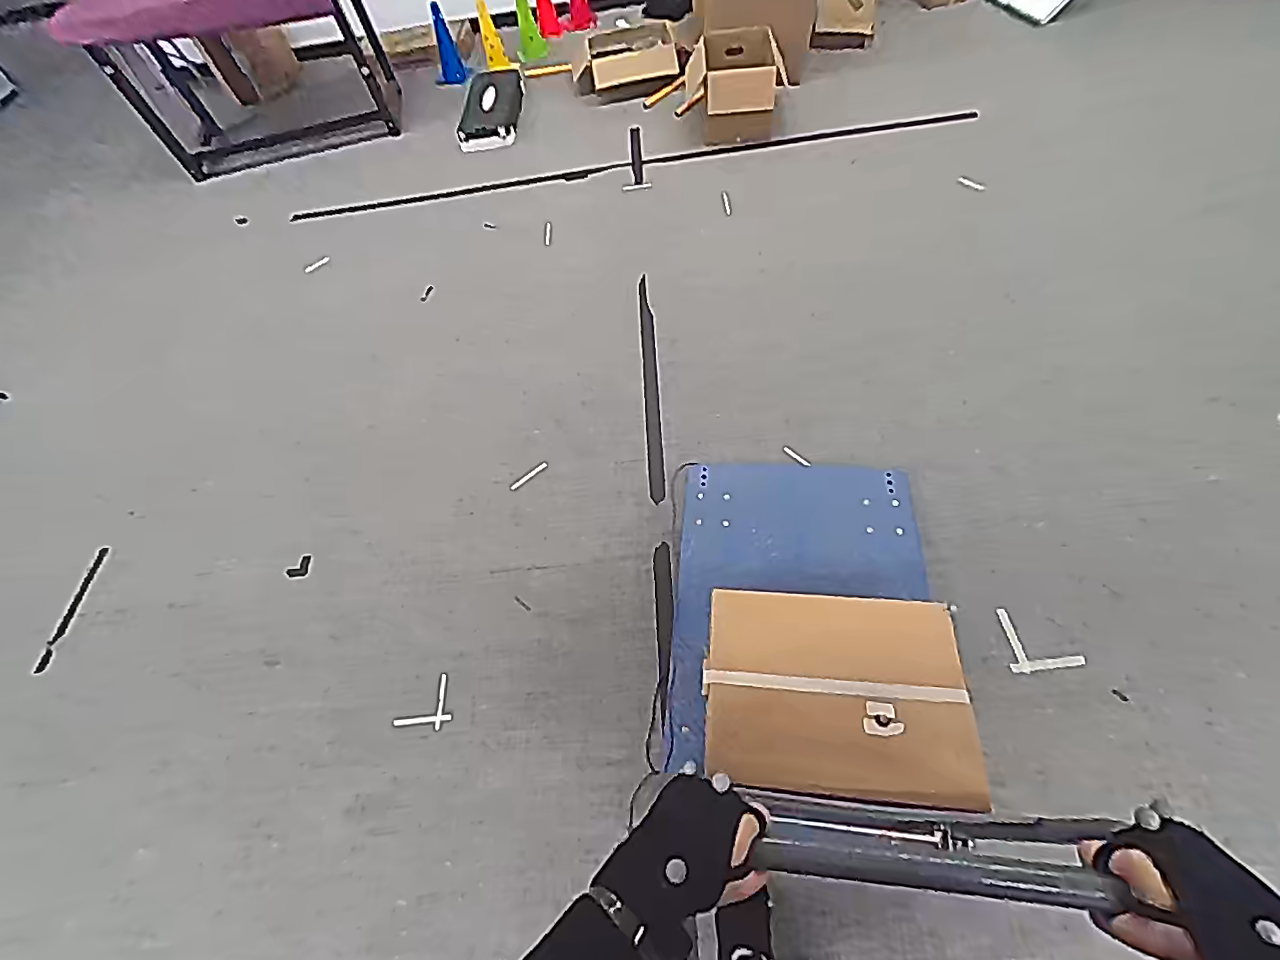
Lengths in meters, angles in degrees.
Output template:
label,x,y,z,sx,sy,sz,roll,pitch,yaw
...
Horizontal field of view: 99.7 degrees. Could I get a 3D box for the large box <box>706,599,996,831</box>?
label,x,y,z,sx,sy,sz,roll,pitch,yaw
large box,0.324,0.428,0.975,0.408,0.320,0.320,2,57,8
